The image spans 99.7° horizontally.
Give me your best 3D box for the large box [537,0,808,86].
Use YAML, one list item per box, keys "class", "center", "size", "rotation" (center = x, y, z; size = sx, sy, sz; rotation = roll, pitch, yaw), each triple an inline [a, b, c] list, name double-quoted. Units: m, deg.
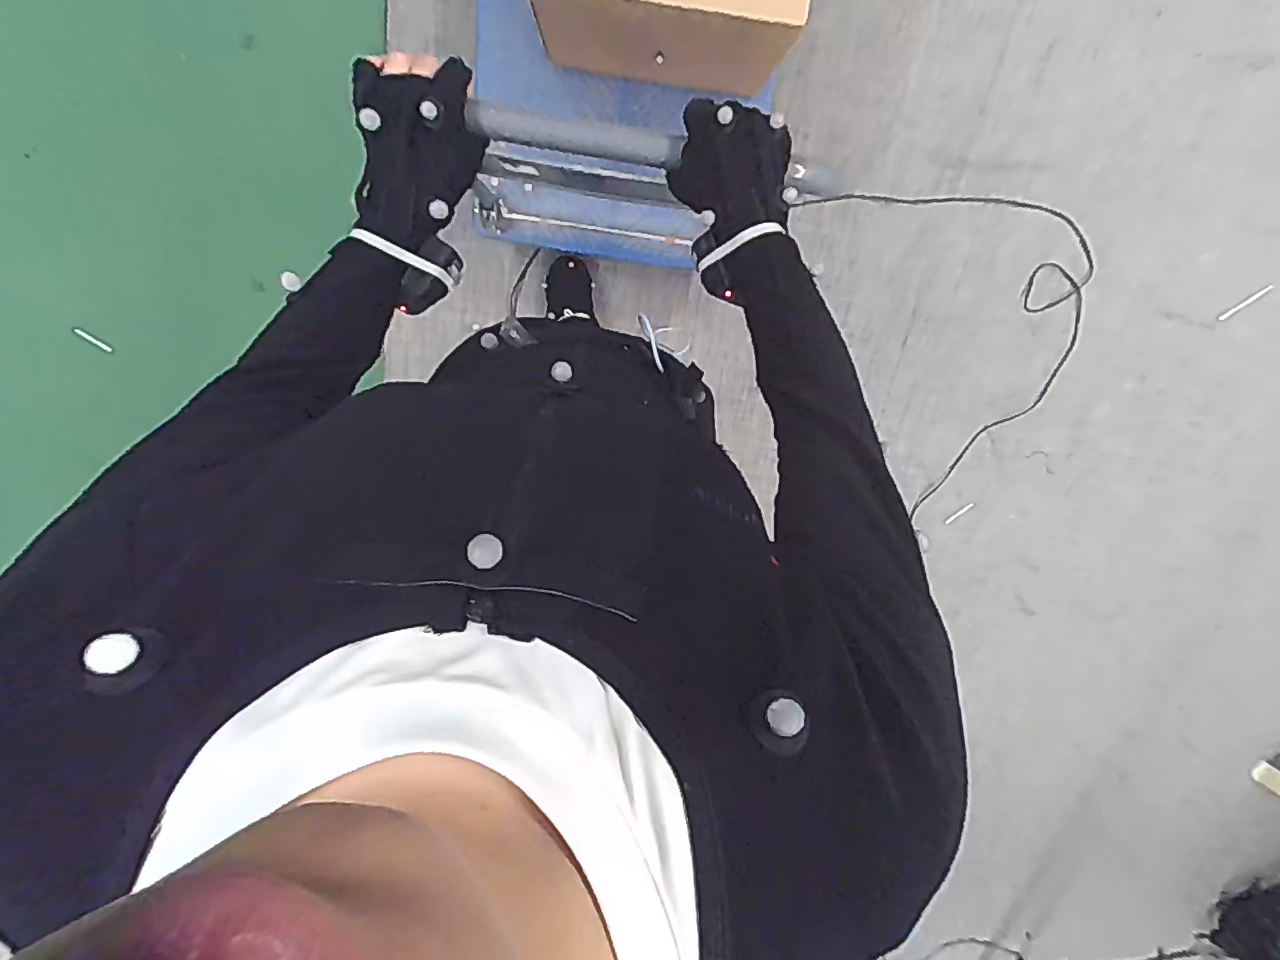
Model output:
- class: "large box"
  center: [0.057, -0.876, 0.862]
  size: [0.408, 0.320, 0.320]
  rotation: [6, 110, -3]
